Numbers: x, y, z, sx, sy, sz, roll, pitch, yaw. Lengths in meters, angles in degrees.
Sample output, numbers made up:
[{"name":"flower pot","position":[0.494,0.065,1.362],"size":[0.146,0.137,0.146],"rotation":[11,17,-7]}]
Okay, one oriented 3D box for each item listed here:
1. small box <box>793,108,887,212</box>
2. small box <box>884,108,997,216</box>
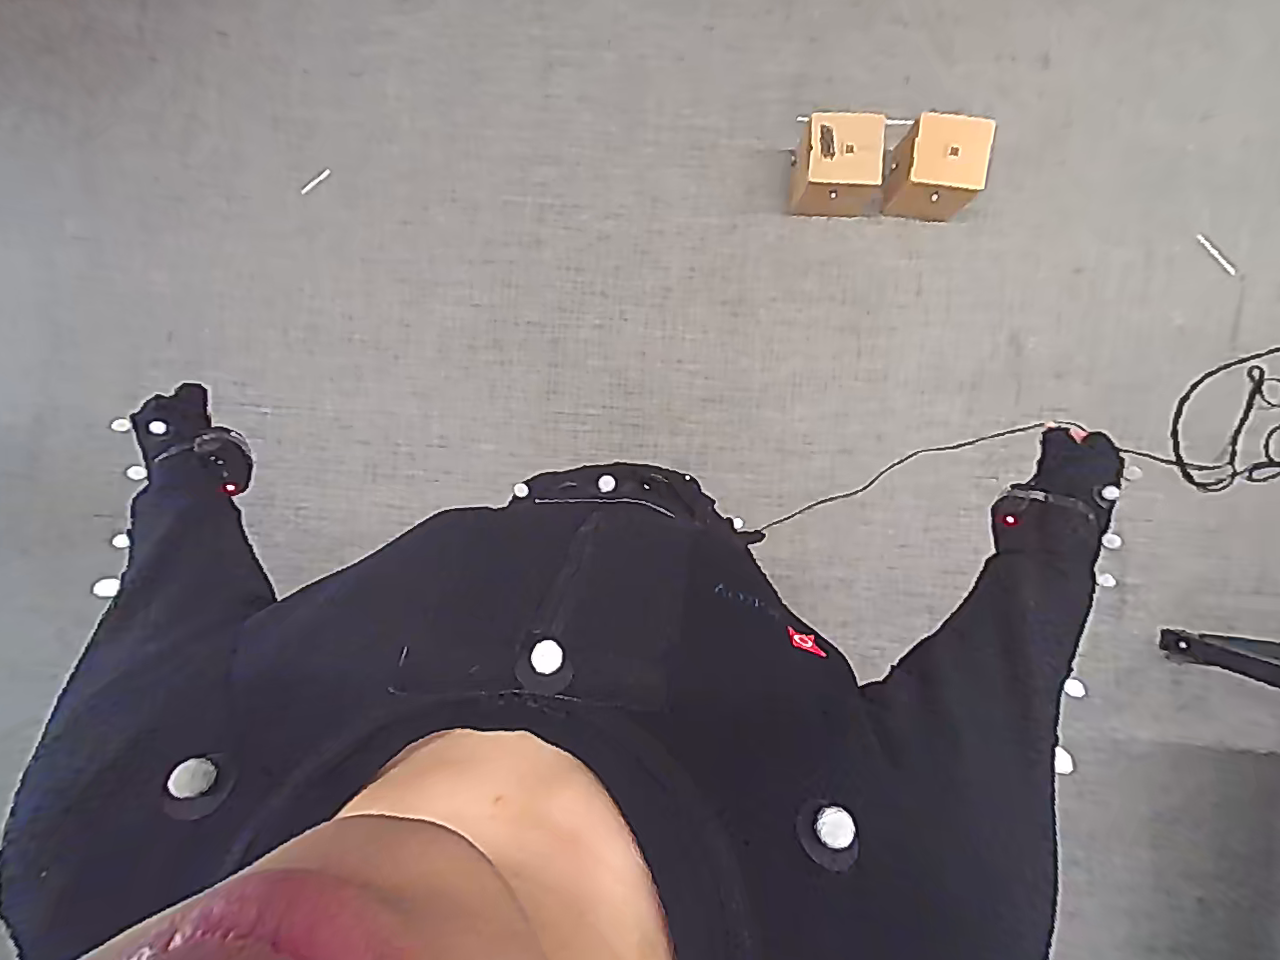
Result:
[{"name":"small box","position":[0.490,-0.790,1.350],"size":[0.179,0.176,0.168],"rotation":[3,92,2]},{"name":"small box","position":[0.735,-0.778,1.340],"size":[0.179,0.176,0.168],"rotation":[9,93,3]}]
